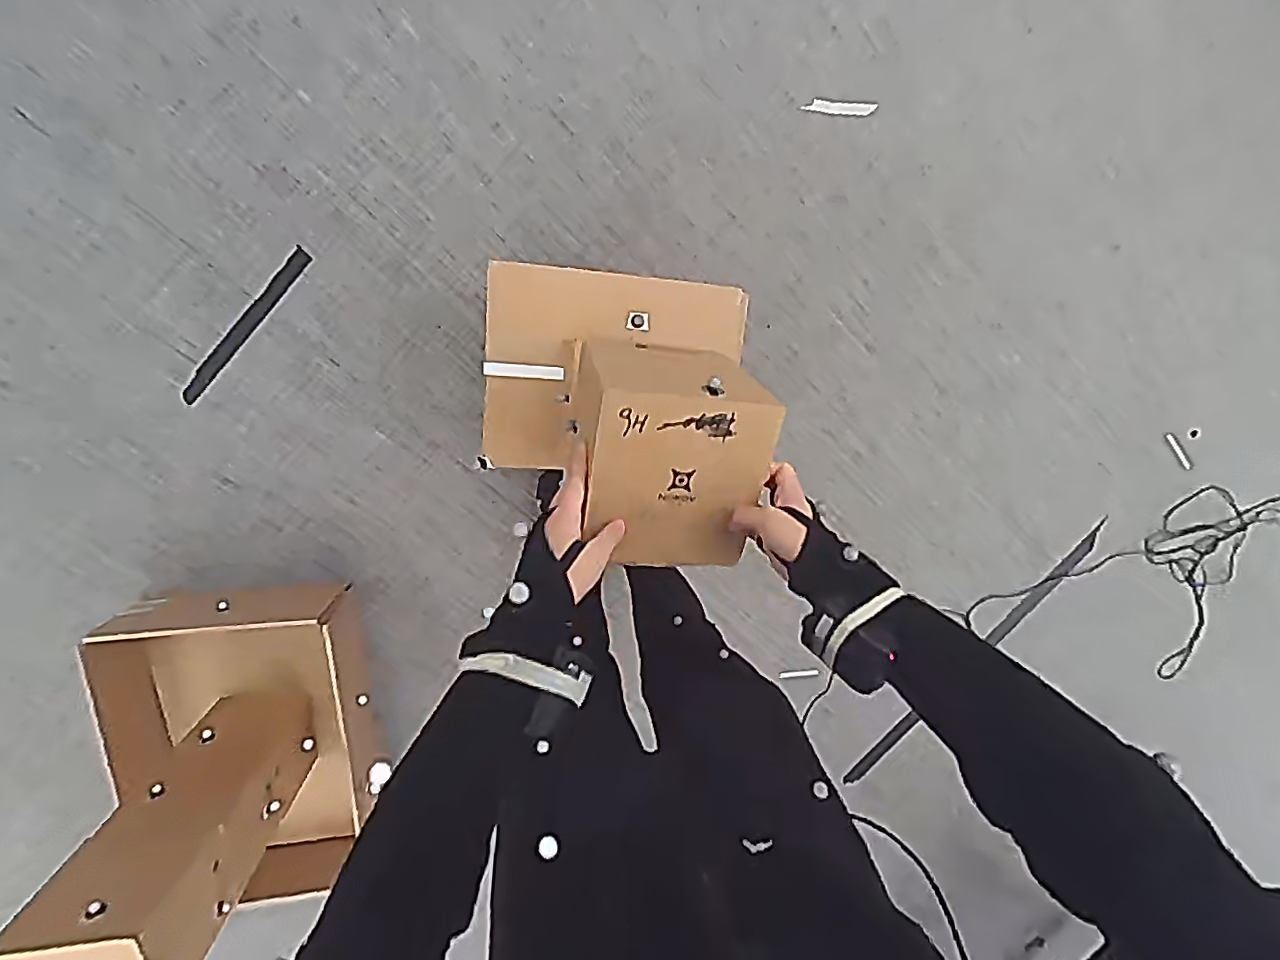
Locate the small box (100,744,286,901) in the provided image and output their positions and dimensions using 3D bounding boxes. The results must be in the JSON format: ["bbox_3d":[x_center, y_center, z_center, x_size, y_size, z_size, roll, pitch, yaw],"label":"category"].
[{"bbox_3d":[-0.740,0.580,0.918,0.179,0.176,0.168,-1,105,-11],"label":"small box"}]

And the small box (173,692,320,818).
[{"bbox_3d":[-0.768,0.543,1.073,0.179,0.176,0.168,0,104,-11],"label":"small box"}]

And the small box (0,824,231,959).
[{"bbox_3d":[-0.716,0.620,0.760,0.179,0.176,0.168,-2,104,-9],"label":"small box"}]

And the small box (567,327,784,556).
[{"bbox_3d":[0.019,-0.042,0.561,0.168,0.176,0.179,4,119,-15],"label":"small box"}]

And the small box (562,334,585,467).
[{"bbox_3d":[-0.024,-0.113,0.785,0.168,0.176,0.179,2,103,-12],"label":"small box"}]
